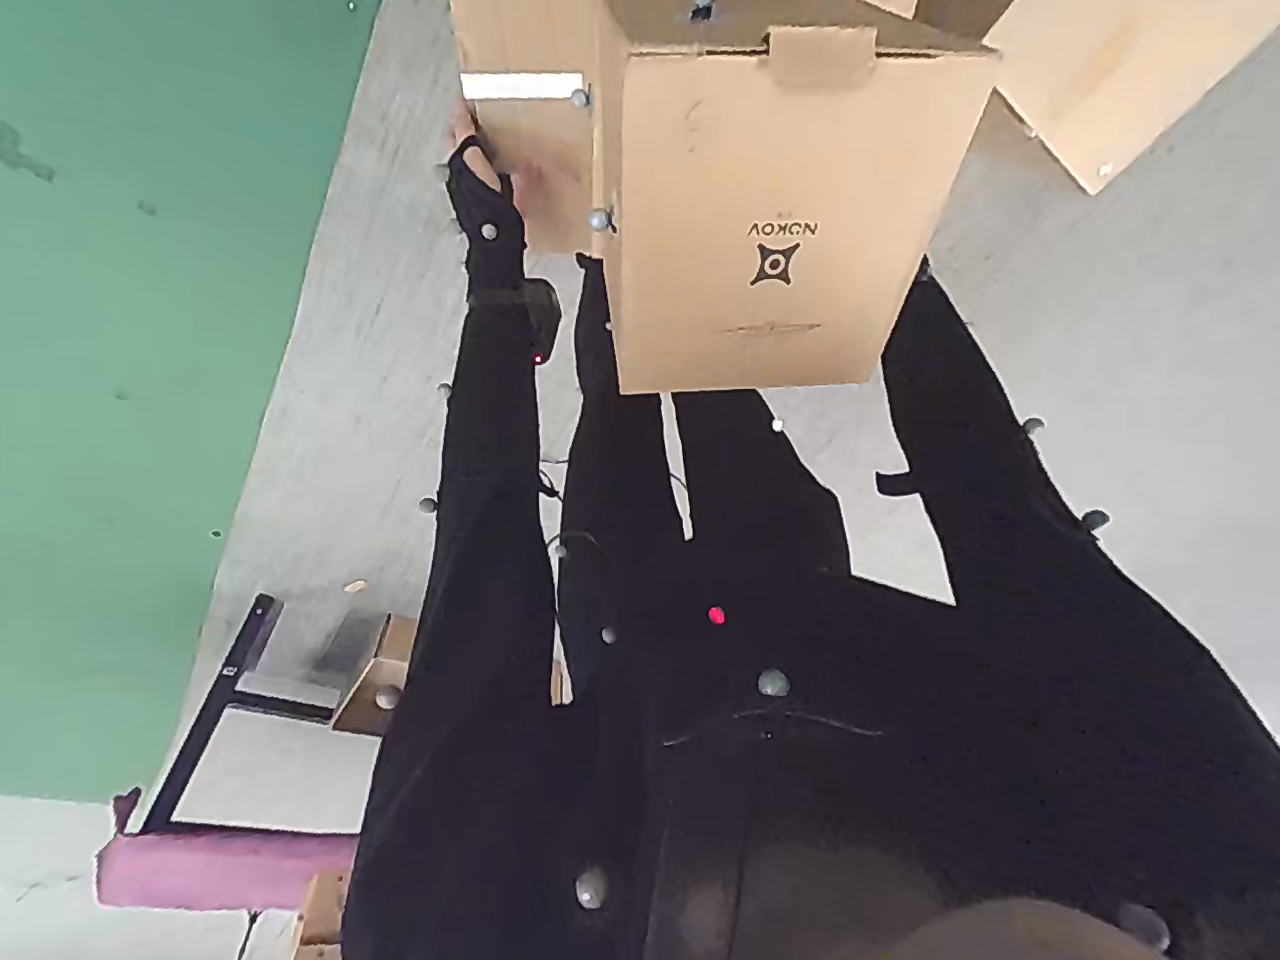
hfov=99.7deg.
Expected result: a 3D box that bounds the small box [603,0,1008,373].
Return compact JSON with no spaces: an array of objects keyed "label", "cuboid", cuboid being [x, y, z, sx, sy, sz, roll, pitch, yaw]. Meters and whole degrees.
[{"label":"small box","cuboid":[0.064,-0.188,0.334,0.168,0.176,0.179,-3,137,-5]}]

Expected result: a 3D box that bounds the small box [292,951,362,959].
[{"label":"small box","cuboid":[-0.828,1.328,1.381,0.168,0.176,0.179,16,129,-21]}]

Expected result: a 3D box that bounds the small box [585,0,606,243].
[{"label":"small box","cuboid":[0.042,-0.311,0.439,0.168,0.176,0.179,-1,138,-8]}]

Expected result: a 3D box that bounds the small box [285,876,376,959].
[{"label":"small box","cuboid":[-0.860,1.228,1.511,0.168,0.176,0.179,22,127,-24]}]
